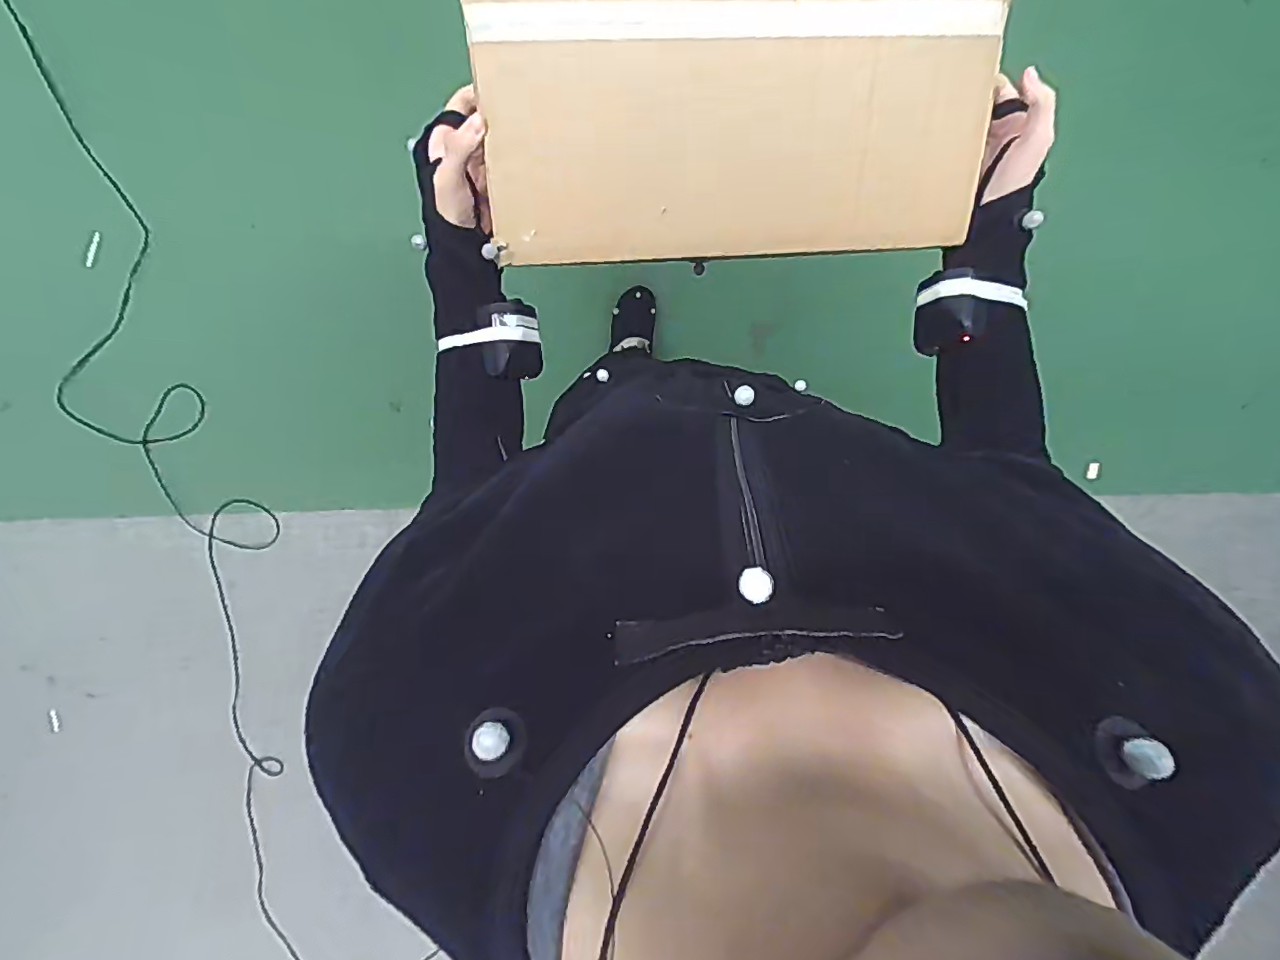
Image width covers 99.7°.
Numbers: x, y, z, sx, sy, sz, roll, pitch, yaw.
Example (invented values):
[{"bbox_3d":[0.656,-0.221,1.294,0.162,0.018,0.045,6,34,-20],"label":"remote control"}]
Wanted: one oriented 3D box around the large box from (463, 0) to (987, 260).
[{"bbox_3d":[0.058,-0.402,0.544,0.408,0.320,0.320,-4,113,-4],"label":"large box"}]
